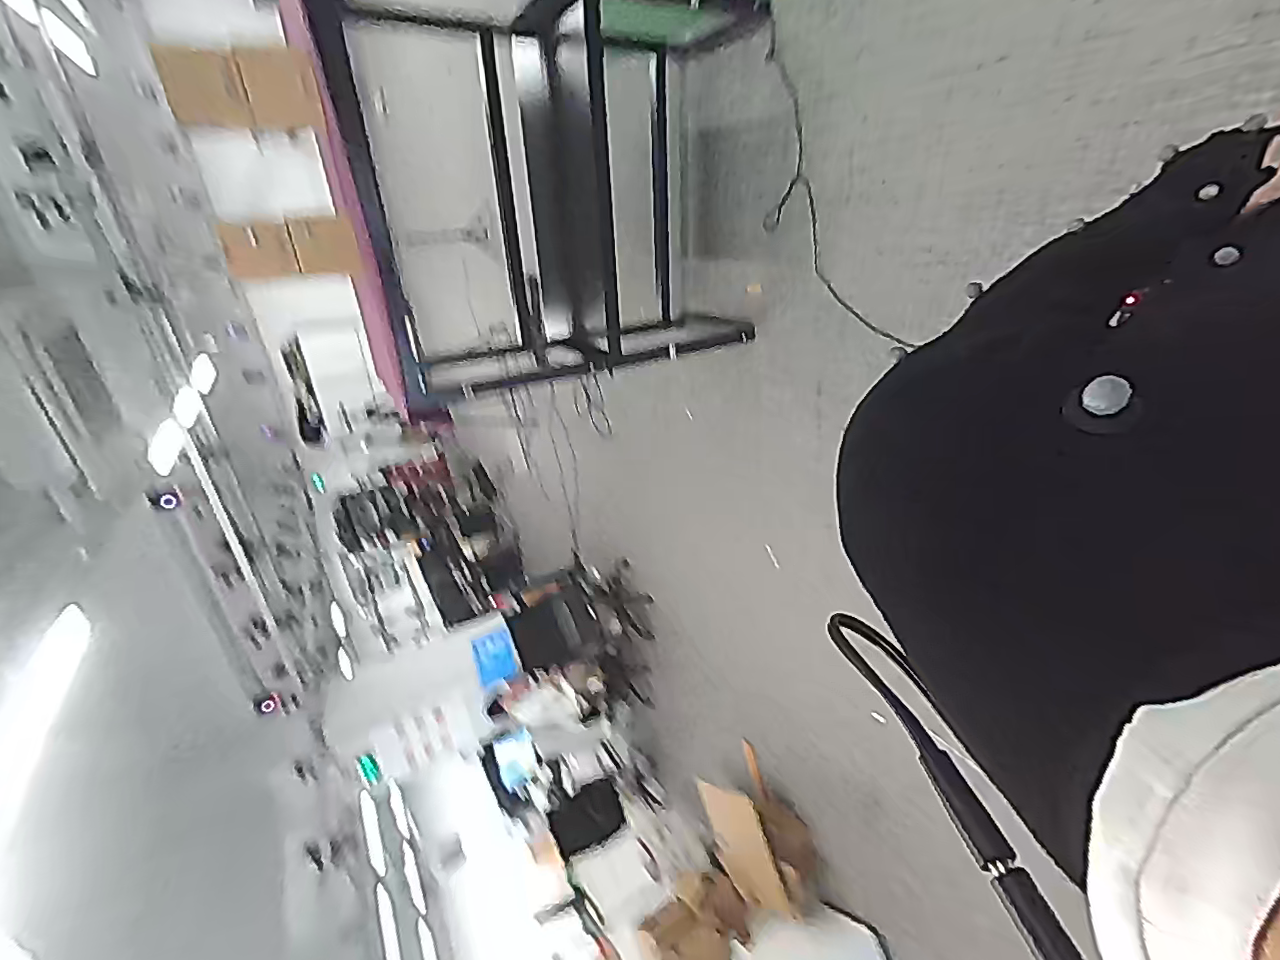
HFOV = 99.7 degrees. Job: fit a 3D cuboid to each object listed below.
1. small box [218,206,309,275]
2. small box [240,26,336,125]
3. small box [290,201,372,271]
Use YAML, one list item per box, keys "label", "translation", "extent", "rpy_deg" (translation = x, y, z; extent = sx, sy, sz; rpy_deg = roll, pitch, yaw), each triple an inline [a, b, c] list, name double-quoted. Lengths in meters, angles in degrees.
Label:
- label: "small box"
  translation: [-1.048, -0.678, 1.520]
  extent: [0.179, 0.176, 0.168]
  rpy_deg: [38, 135, 51]
- label: "small box"
  translation: [-0.920, -1.054, 1.423]
  extent: [0.168, 0.176, 0.179]
  rpy_deg: [37, 136, 53]
- label: "small box"
  translation: [-0.906, -0.719, 1.588]
  extent: [0.168, 0.176, 0.179]
  rpy_deg: [37, 136, 52]
